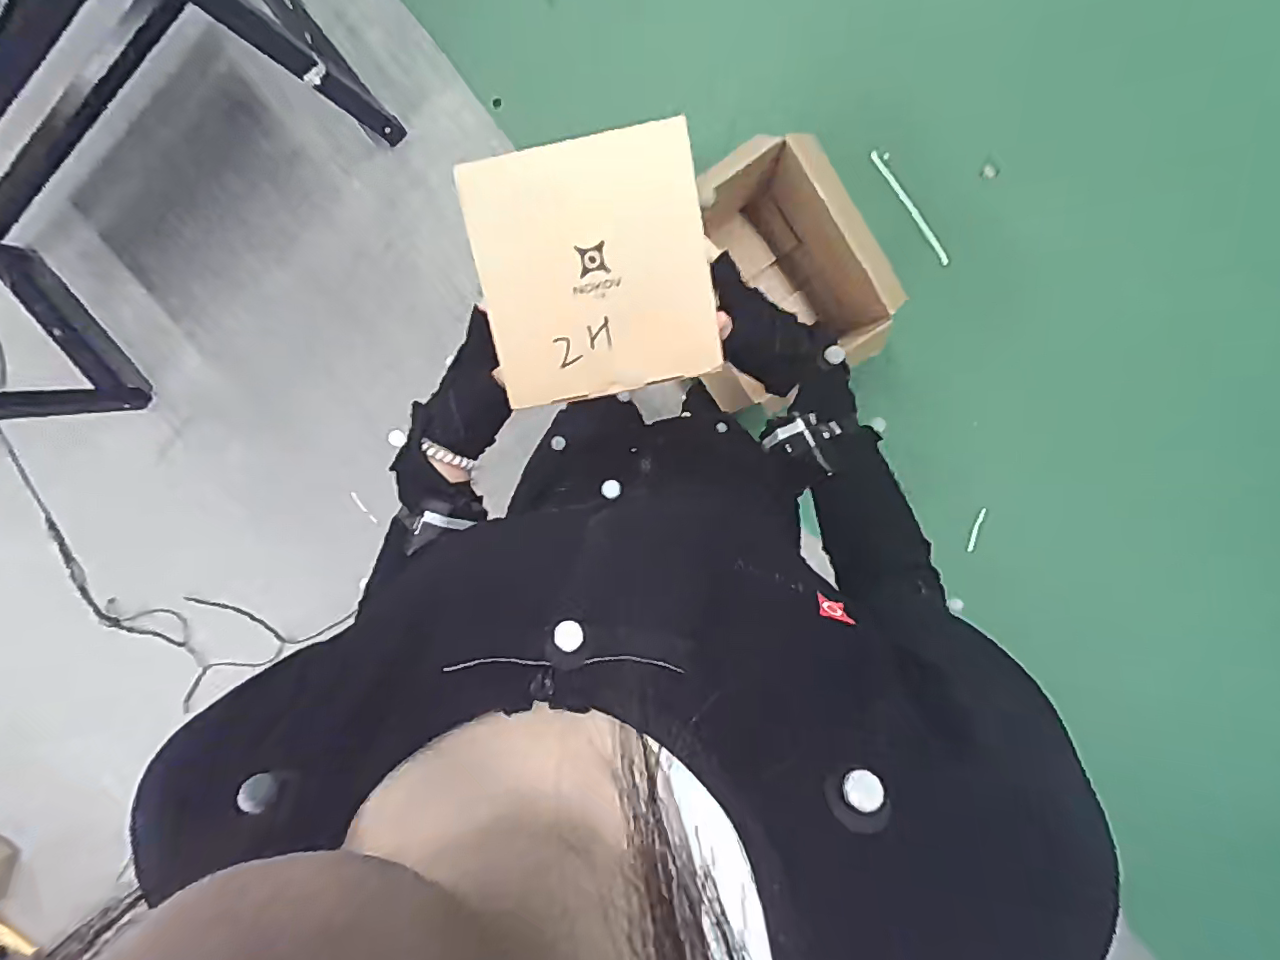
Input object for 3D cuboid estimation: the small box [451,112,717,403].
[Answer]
[{"bbox_3d":[-0.037,-0.170,0.464,0.168,0.176,0.179,-10,103,3],"label":"small box"}]
